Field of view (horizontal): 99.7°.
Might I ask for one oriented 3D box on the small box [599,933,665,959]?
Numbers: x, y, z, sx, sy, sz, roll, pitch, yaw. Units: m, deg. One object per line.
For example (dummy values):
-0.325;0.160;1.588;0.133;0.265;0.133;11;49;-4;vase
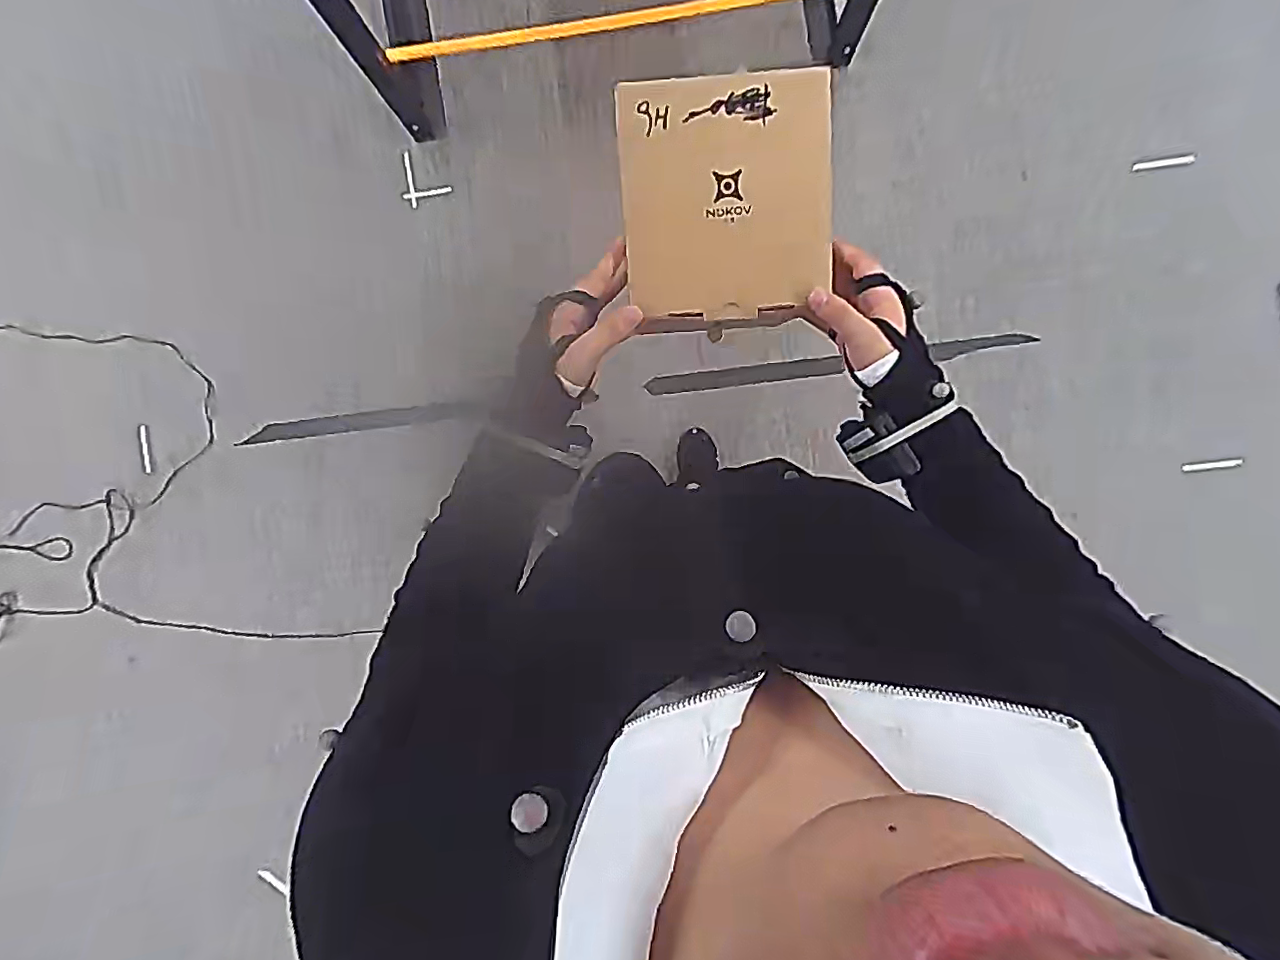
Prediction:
-0.014;1.300;1.360;0.168;0.176;0.179;-8;92;2;small box
